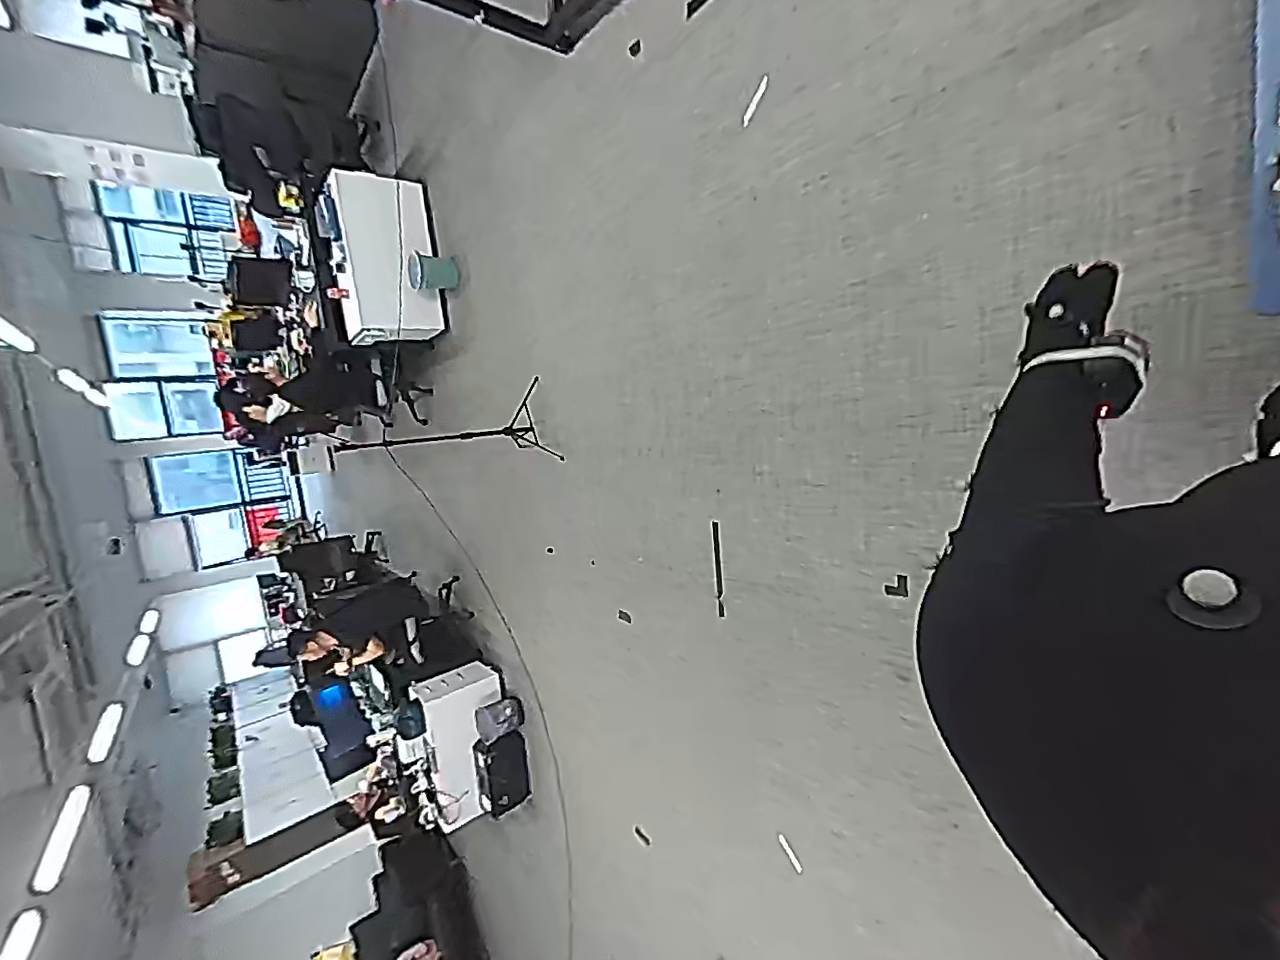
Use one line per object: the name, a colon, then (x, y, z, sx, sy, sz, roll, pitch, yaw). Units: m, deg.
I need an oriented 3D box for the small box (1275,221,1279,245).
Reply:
small box: (0.980, -0.413, 0.708, 0.179, 0.176, 0.168, 9, 106, 50)

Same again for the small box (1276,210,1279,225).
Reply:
small box: (0.851, -0.389, 0.609, 0.168, 0.176, 0.179, 5, 102, 51)

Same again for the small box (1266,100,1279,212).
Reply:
small box: (0.730, -0.361, 0.502, 0.179, 0.176, 0.168, 9, 107, 49)
